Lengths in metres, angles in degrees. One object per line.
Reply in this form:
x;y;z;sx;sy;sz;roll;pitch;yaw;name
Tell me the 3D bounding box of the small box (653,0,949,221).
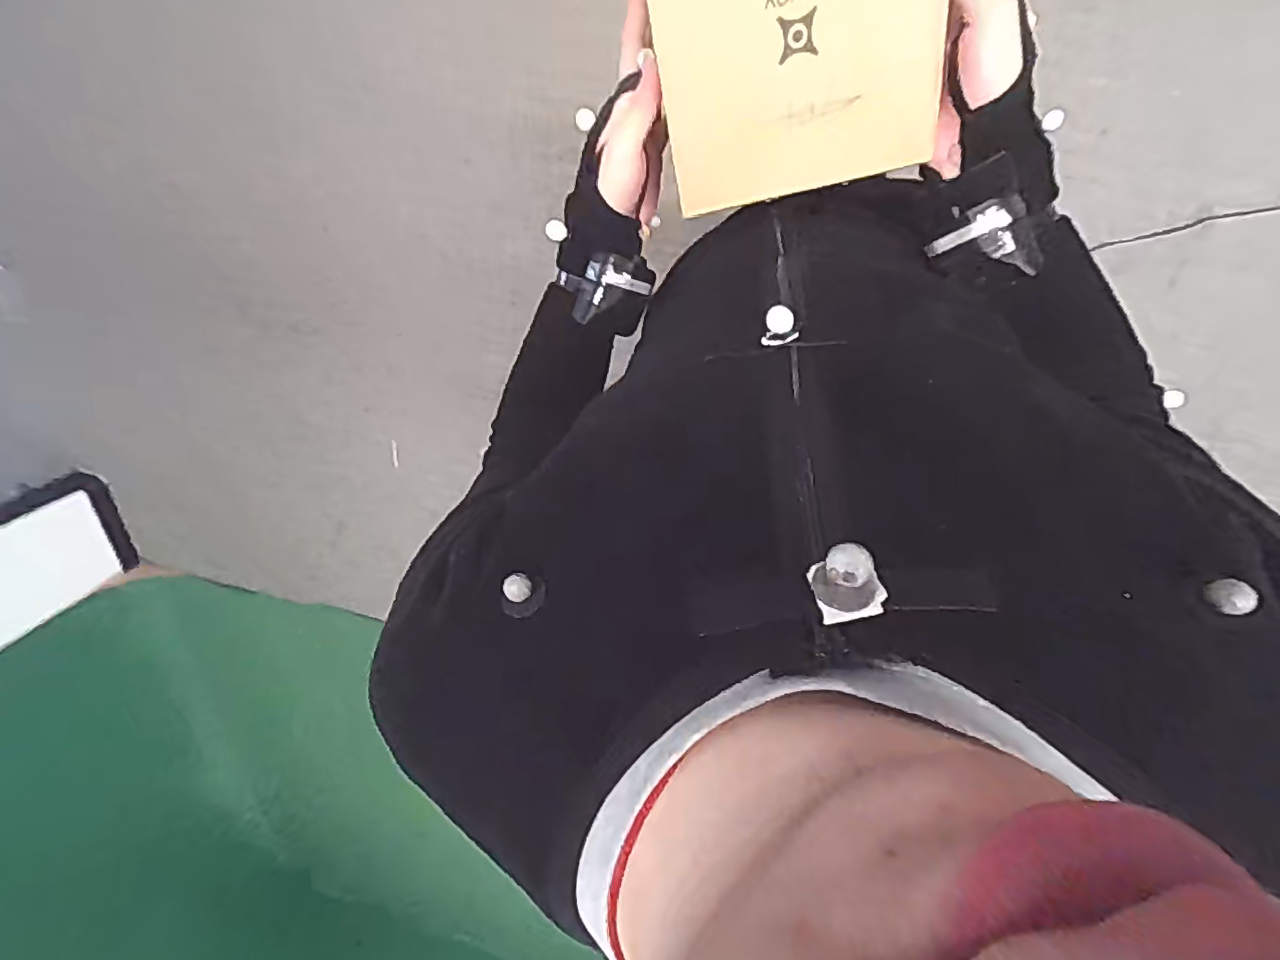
0.096;-0.307;0.377;0.168;0.176;0.179;-7;129;10;small box
